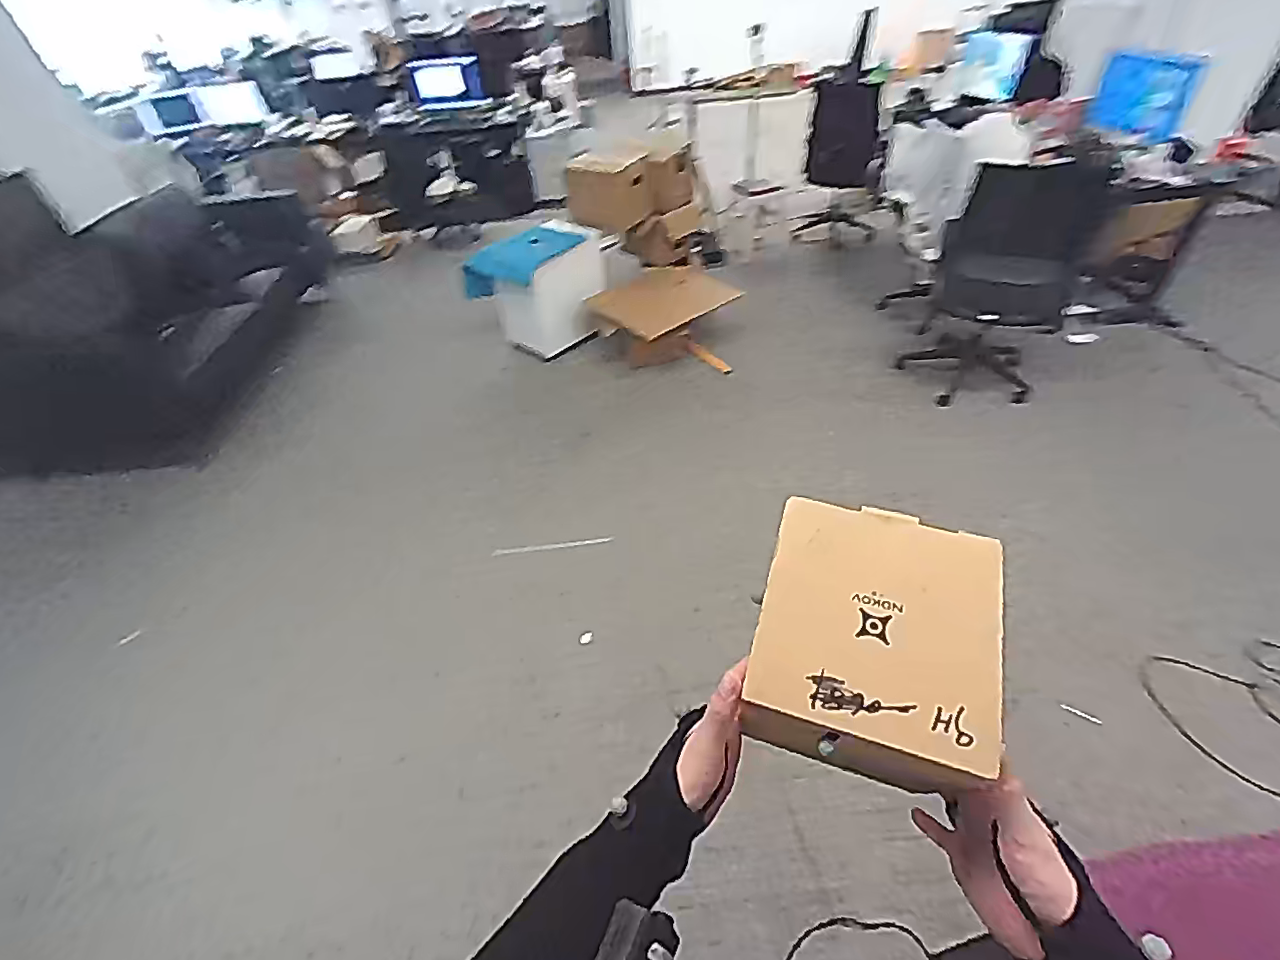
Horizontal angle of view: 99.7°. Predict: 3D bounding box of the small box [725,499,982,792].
[{"bbox_3d":[0.172,0.146,0.469,0.168,0.176,0.179,12,60,17],"label":"small box"}]
